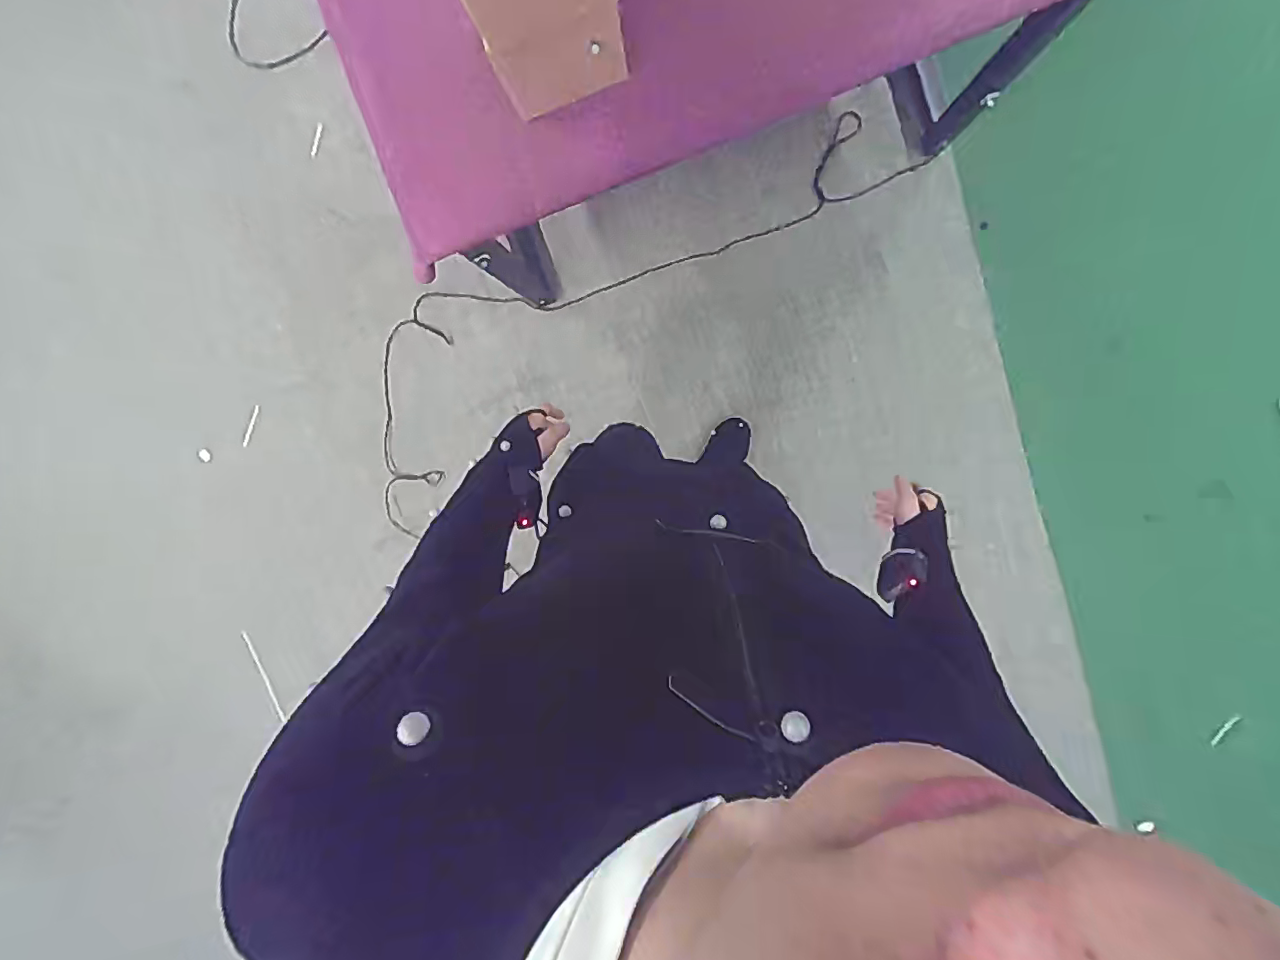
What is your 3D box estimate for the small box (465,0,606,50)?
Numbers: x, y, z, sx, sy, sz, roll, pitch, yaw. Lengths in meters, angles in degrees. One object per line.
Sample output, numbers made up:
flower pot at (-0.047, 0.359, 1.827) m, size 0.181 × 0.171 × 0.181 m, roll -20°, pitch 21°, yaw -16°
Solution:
small box at (-0.132, -0.619, 0.575) m, size 0.179 × 0.176 × 0.168 m, roll -19°, pitch 96°, yaw 6°
